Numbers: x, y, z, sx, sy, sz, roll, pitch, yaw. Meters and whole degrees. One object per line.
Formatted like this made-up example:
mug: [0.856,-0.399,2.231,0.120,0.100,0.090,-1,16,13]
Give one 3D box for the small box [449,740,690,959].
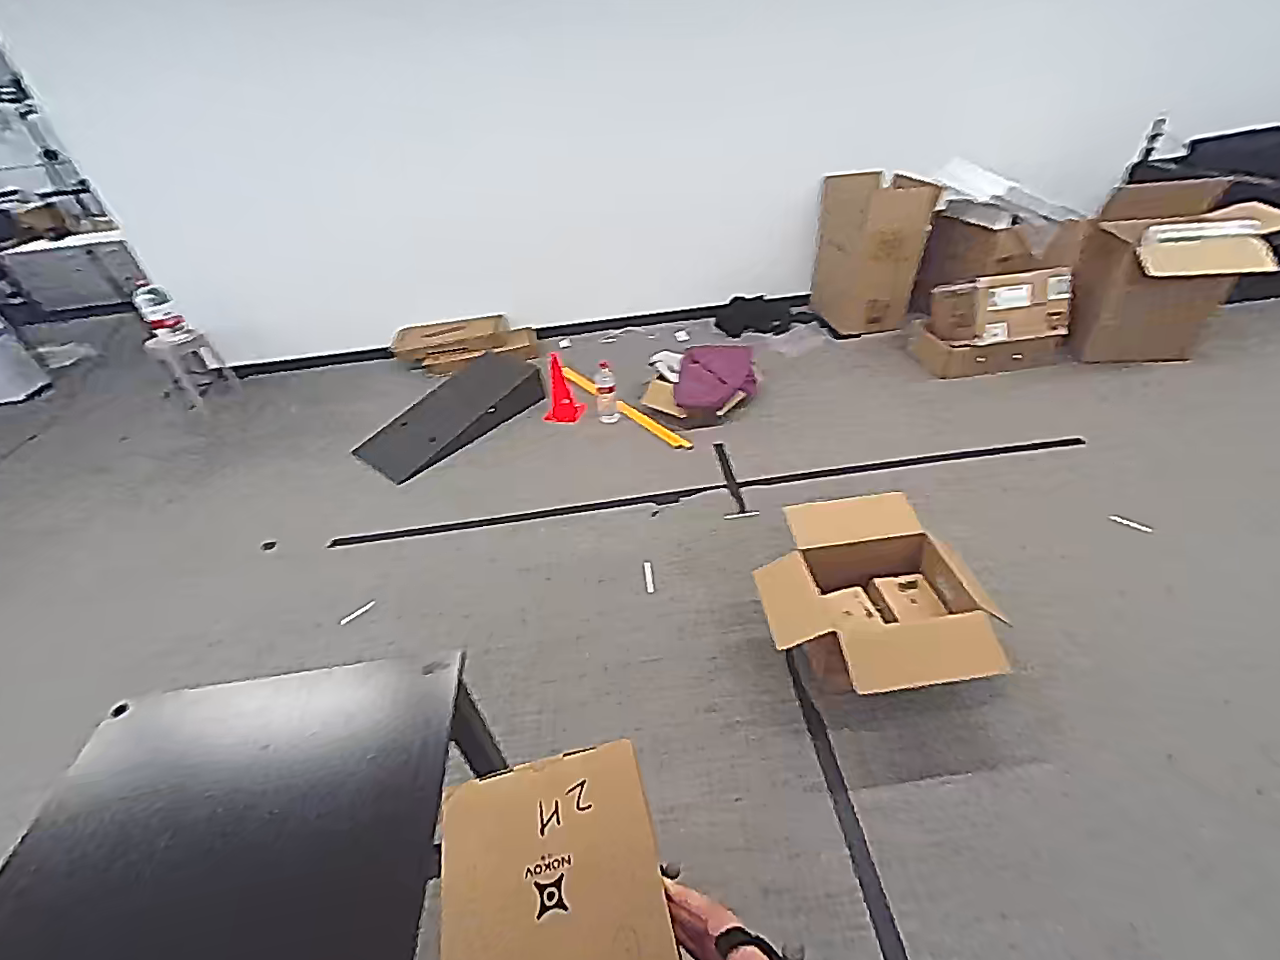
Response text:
small box: [-0.054,0.358,0.465,0.168,0.176,0.179,-12,47,-6]
